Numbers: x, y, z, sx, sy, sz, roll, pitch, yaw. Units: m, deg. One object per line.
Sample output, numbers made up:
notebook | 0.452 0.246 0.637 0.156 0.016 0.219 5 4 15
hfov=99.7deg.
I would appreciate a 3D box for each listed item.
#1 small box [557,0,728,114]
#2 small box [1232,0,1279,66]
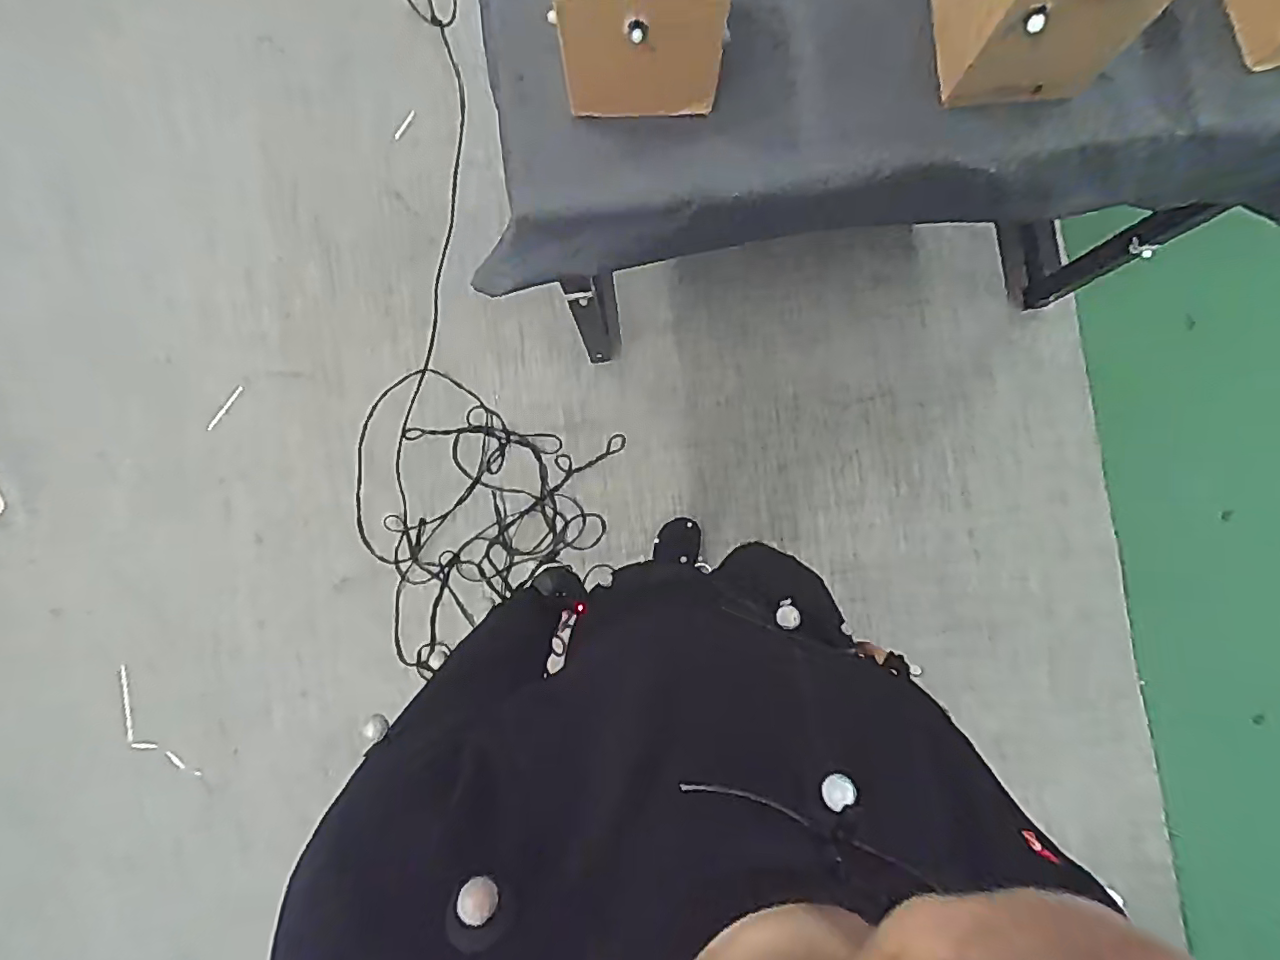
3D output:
small box | 0.003 -0.537 0.593 0.179 0.176 0.168 0 87 -1
small box | 0.802 -0.608 0.586 0.168 0.176 0.179 -12 87 0
